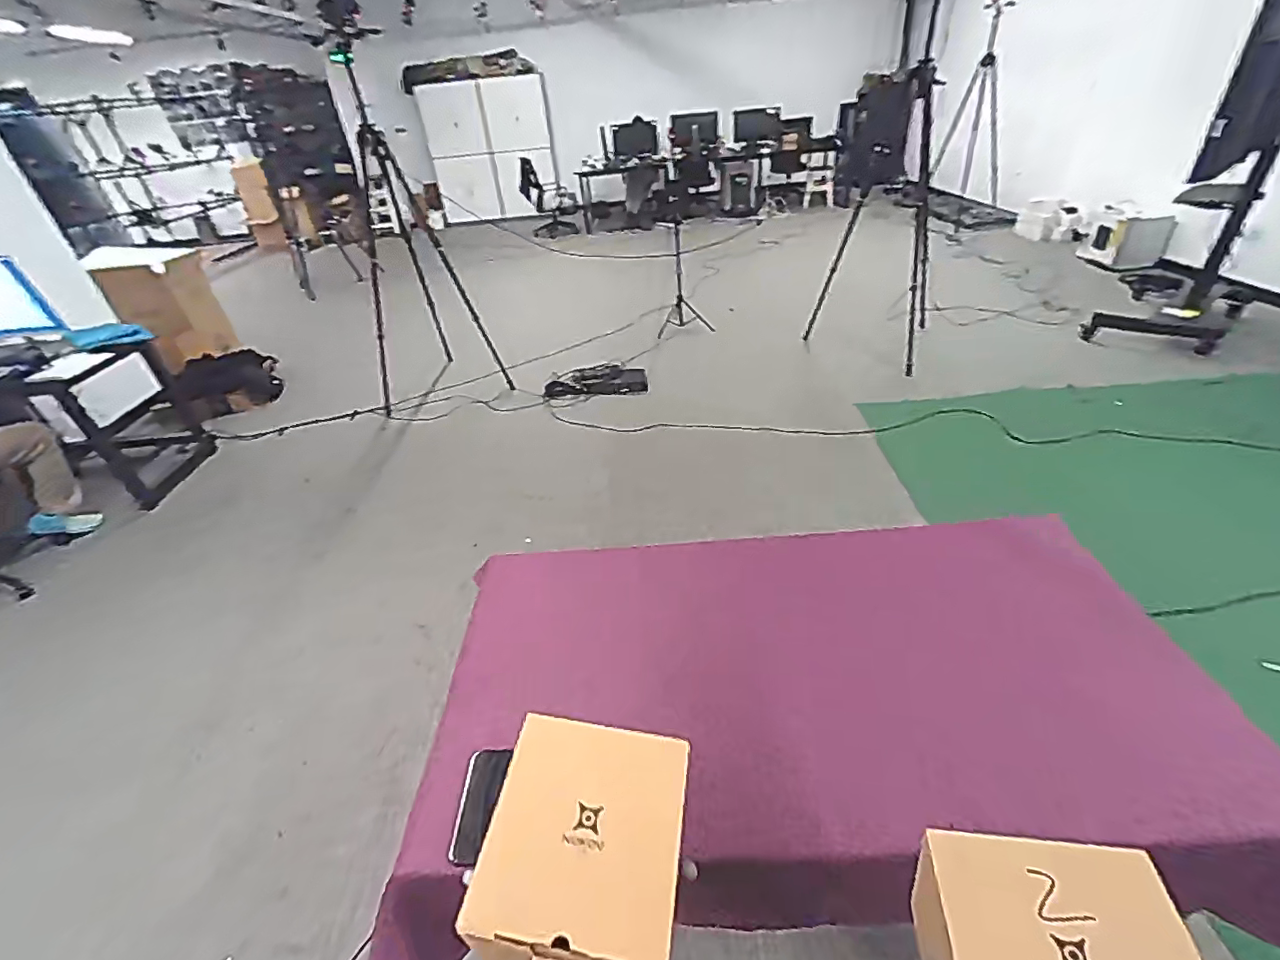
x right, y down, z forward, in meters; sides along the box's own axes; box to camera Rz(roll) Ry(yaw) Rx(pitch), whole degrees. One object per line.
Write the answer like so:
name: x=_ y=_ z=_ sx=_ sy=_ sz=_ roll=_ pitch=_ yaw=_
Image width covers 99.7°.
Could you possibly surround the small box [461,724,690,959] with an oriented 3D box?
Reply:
small box: x=-0.050 y=0.373 z=0.522 sx=0.168 sy=0.176 sz=0.179 roll=8 pitch=40 yaw=6
